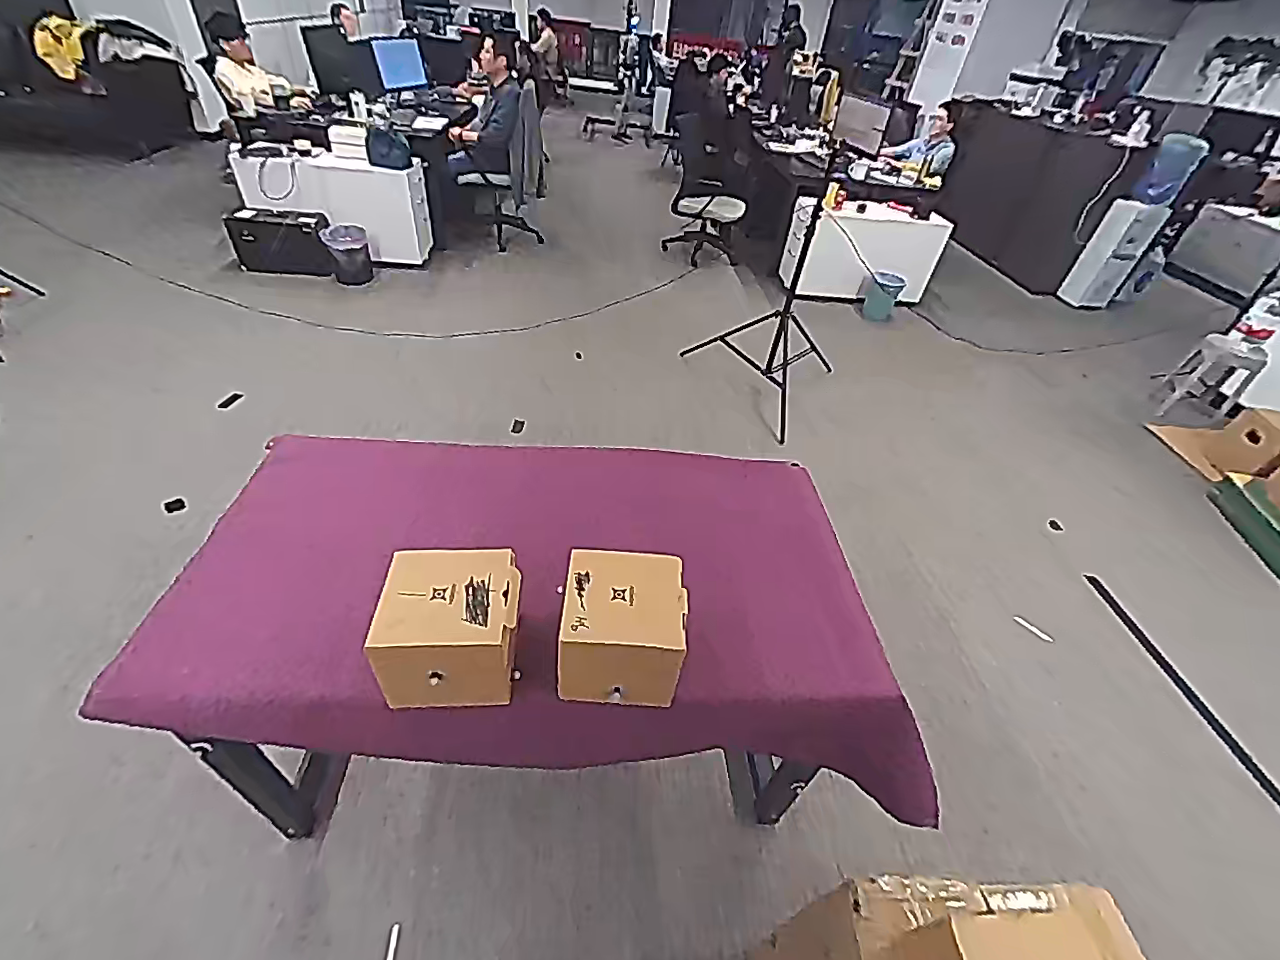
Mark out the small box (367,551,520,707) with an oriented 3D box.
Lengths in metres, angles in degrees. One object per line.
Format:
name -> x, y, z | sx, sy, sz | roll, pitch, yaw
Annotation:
small box -> -0.278, 0.225, 0.813 | 0.179, 0.176, 0.168 | 0, 41, -6

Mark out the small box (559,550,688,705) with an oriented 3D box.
small box -> -0.029, 0.232, 0.844 | 0.179, 0.176, 0.168 | 6, 40, -3

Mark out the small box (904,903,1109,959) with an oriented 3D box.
small box -> 0.441, 0.621, 0.628 | 0.168, 0.176, 0.179 | 0, 43, -4
